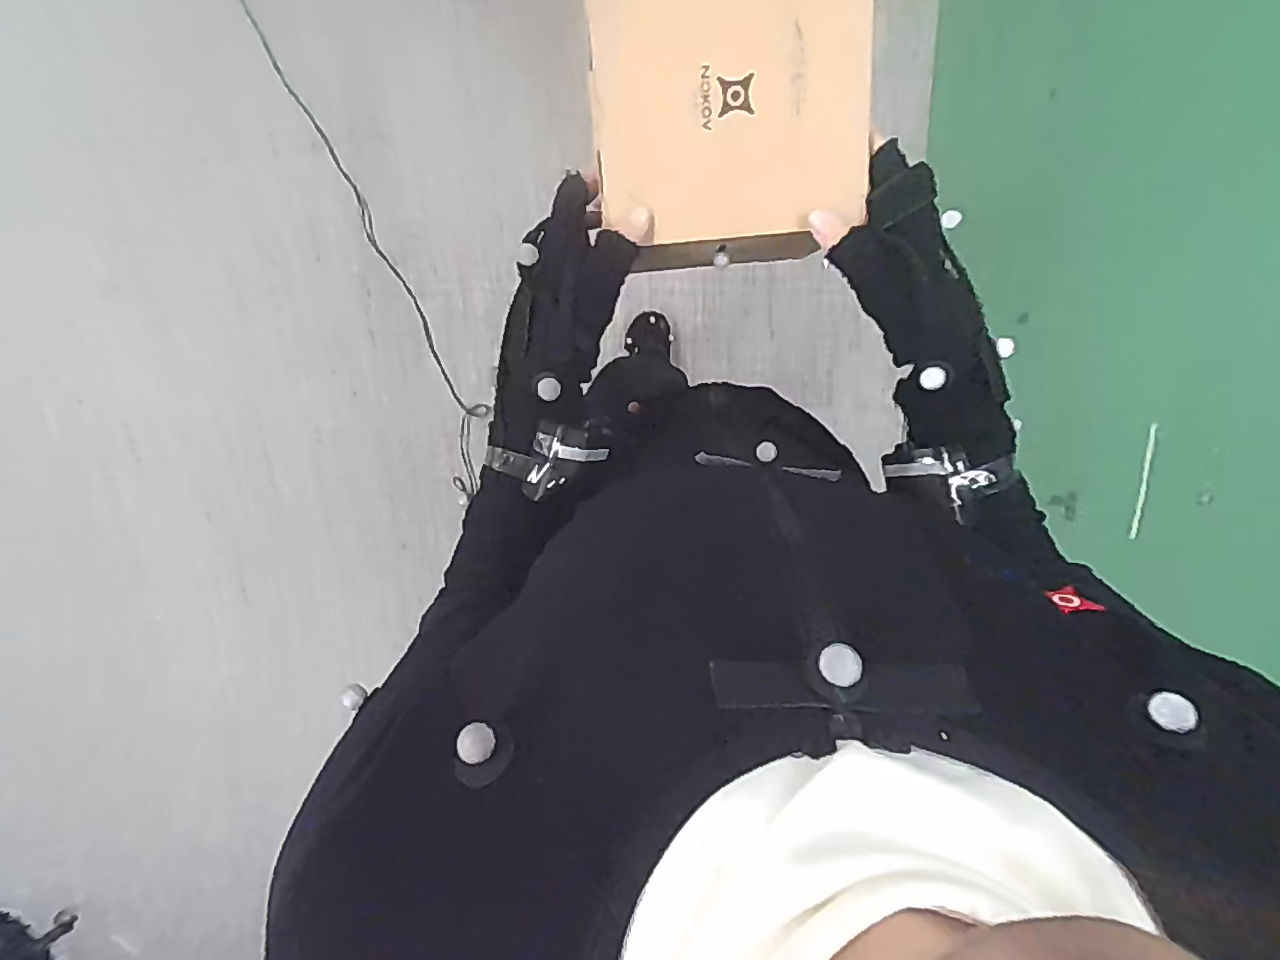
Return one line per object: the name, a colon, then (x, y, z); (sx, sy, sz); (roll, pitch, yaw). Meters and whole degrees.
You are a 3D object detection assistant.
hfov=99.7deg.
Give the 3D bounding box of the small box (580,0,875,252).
small box: (0.058, -0.274, 0.407); (0.179, 0.176, 0.168); (-4, 108, 3)
